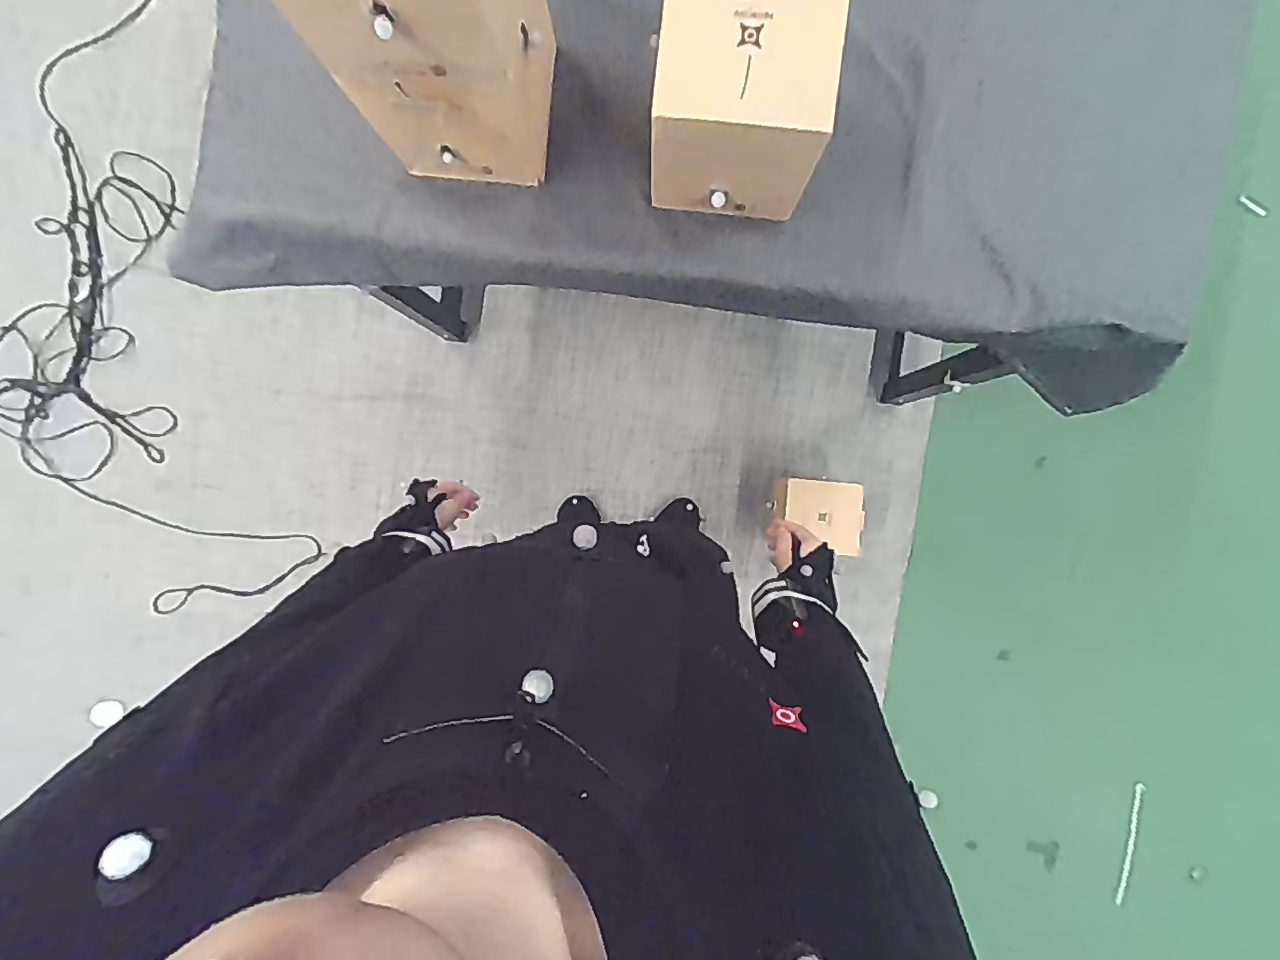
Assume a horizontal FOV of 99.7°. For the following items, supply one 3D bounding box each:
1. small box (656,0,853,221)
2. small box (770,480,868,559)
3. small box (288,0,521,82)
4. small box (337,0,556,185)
[{"bbox_3d":[0.107,-0.403,0.563,0.168,0.176,0.179,7,90,2],"label":"small box"},{"bbox_3d":[0.419,0.088,1.288,0.179,0.176,0.168,5,89,3],"label":"small box"},{"bbox_3d":[-0.188,-0.446,0.411,0.168,0.176,0.179,4,92,1],"label":"small box"},{"bbox_3d":[-0.188,-0.451,0.575,0.168,0.176,0.179,5,91,1],"label":"small box"}]
